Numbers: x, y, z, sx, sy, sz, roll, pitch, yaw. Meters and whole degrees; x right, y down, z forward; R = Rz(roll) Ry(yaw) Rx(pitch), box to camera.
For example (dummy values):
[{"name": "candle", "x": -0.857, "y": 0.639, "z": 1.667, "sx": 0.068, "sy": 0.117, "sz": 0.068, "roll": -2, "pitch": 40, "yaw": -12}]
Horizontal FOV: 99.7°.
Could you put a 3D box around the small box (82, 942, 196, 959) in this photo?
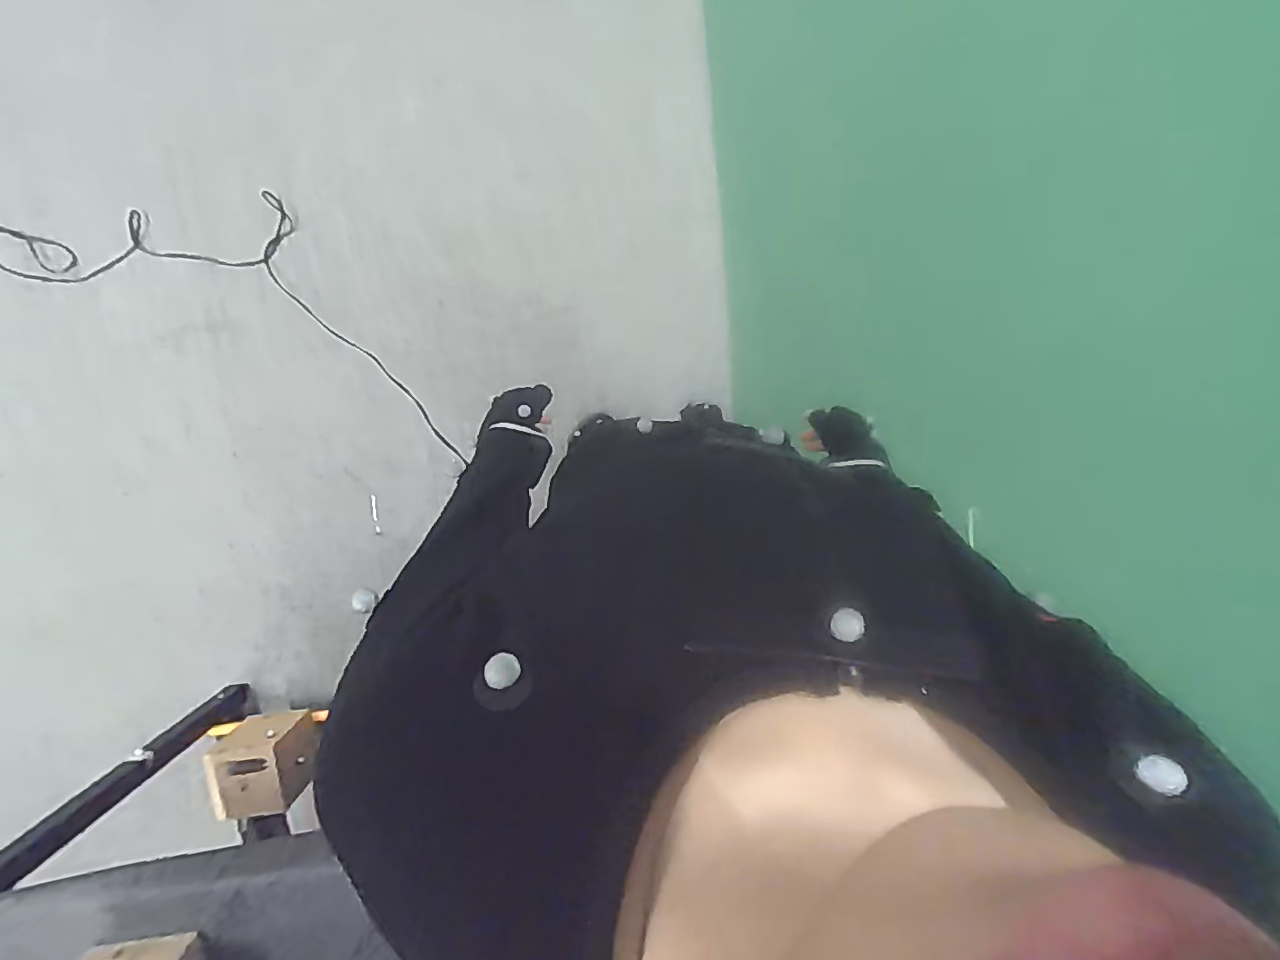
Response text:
[{"name": "small box", "x": -0.723, "y": 0.780, "z": 0.724, "sx": 0.168, "sy": 0.176, "sz": 0.179, "roll": -8, "pitch": 99, "yaw": -2}]
